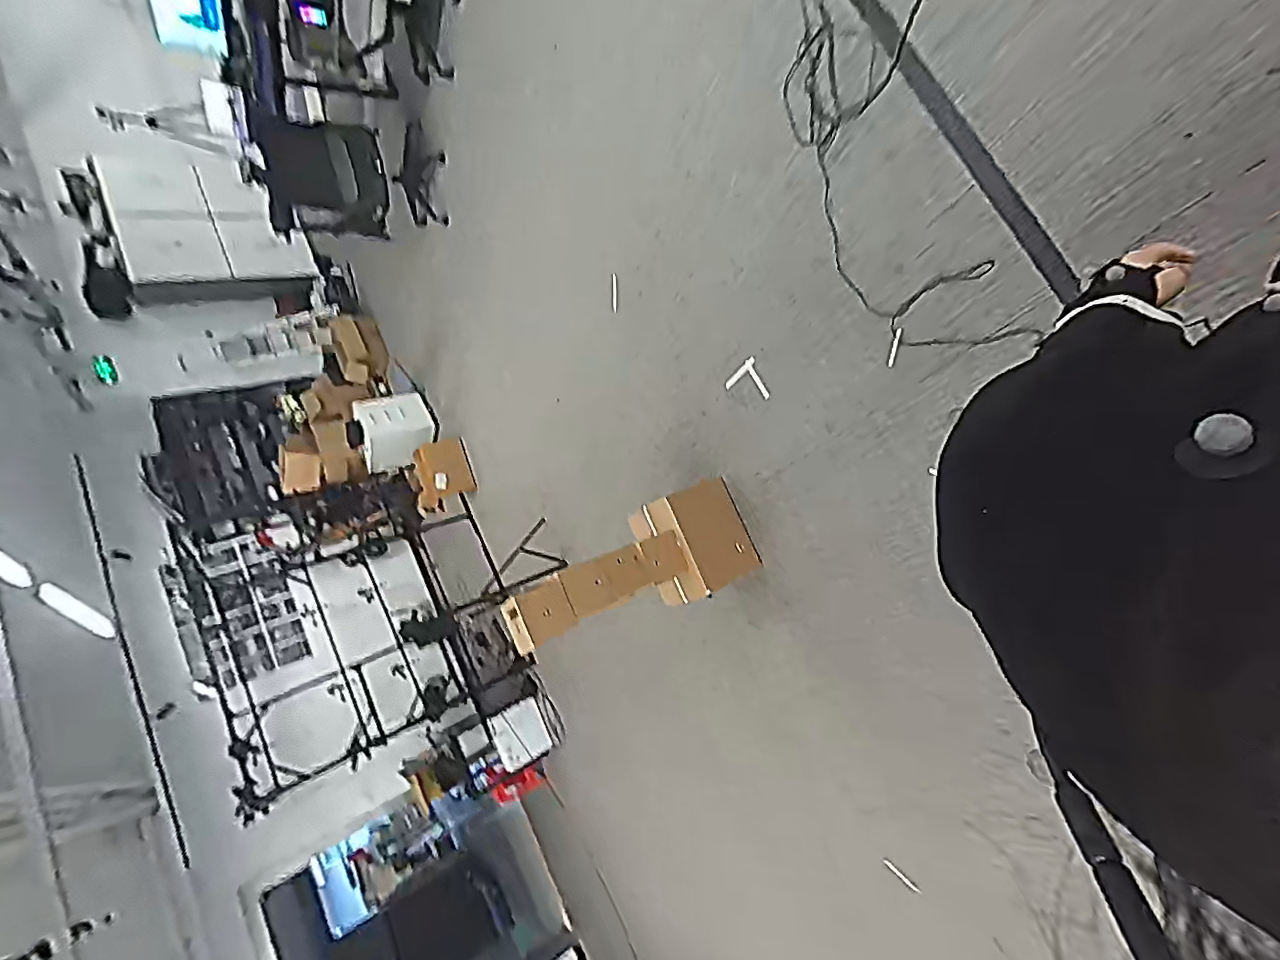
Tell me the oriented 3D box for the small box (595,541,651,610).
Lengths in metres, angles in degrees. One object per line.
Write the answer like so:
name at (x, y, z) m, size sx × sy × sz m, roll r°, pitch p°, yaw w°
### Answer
small box at (-0.081, 0.344, 1.973) m, size 0.168 × 0.176 × 0.179 m, roll 59°, pitch 144°, yaw 17°

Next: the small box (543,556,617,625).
small box at (-0.209, 0.379, 1.878) m, size 0.168 × 0.176 × 0.179 m, roll -43°, pitch 69°, yaw 52°

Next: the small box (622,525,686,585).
small box at (0.049, 0.290, 2.055) m, size 0.168 × 0.176 × 0.179 m, roll -28°, pitch 82°, yaw 54°
